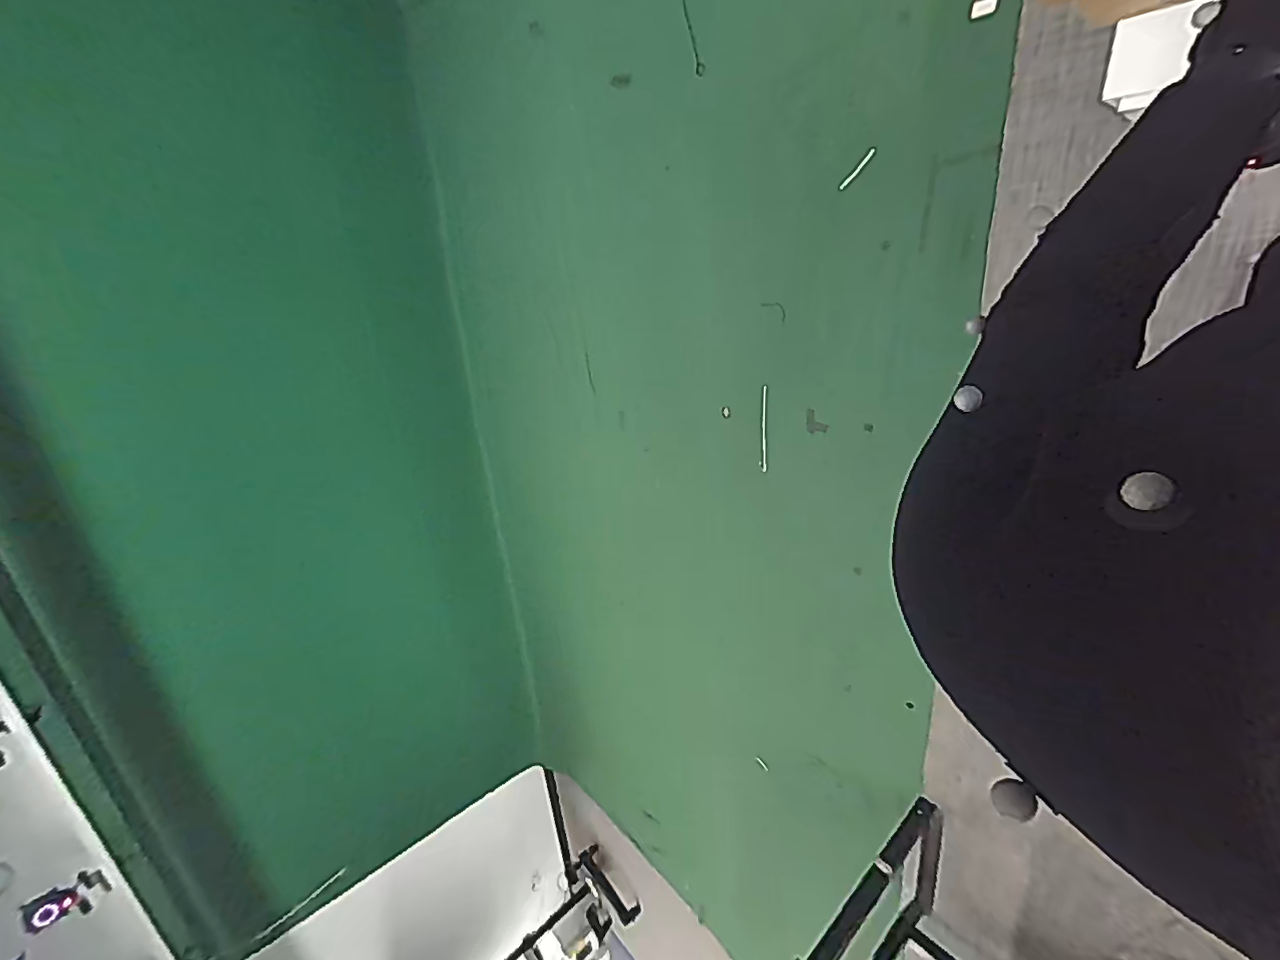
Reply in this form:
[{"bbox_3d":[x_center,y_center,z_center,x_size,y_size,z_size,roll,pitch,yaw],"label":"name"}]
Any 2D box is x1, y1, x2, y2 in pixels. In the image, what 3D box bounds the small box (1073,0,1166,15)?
[{"bbox_3d":[0.519,-0.566,0.495,0.168,0.176,0.179,19,121,44],"label":"small box"}]
